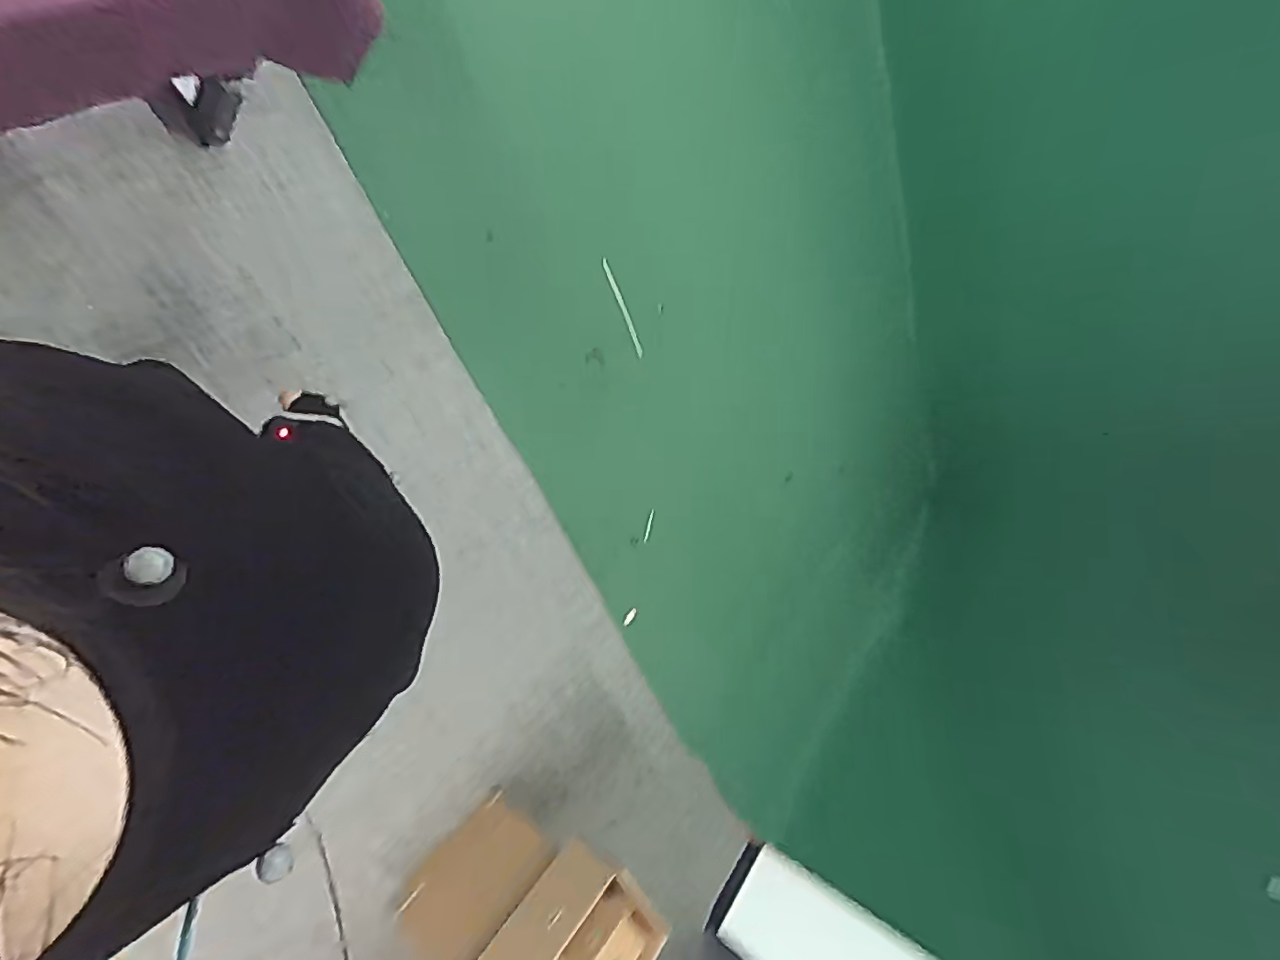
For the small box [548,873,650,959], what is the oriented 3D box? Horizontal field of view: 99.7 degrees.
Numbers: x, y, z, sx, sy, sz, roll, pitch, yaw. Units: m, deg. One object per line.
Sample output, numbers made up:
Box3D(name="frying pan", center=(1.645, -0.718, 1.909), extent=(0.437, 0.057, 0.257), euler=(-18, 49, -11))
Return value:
Box3D(name="small box", center=(-0.110, 1.203, 1.436), extent=(0.179, 0.176, 0.168), euler=(-41, 122, -32))
